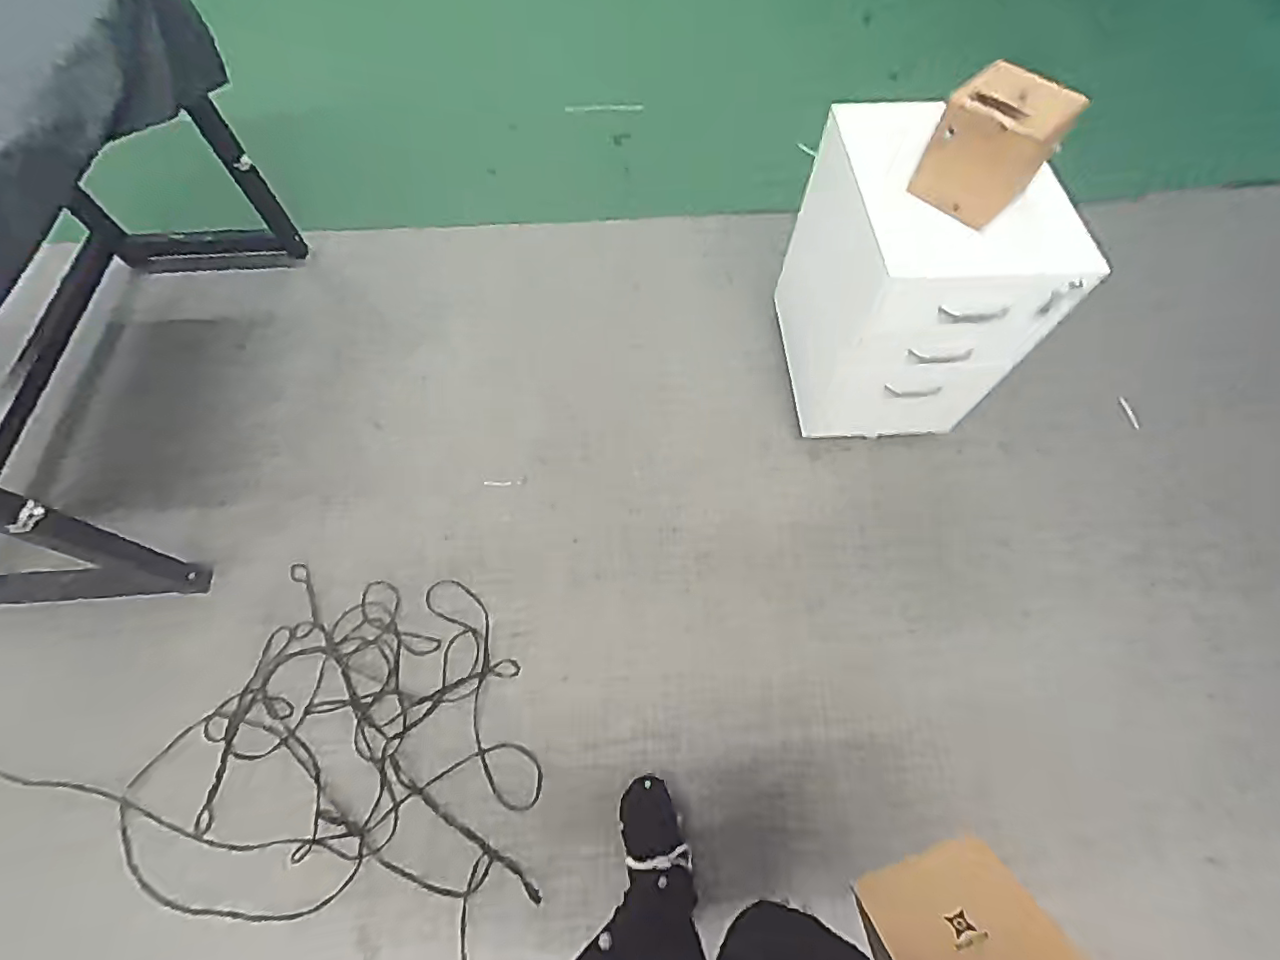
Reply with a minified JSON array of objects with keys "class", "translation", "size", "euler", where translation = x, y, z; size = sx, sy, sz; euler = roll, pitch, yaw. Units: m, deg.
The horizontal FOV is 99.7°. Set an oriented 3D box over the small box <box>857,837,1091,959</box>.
[{"class":"small box","translation":[0.363,0.541,0.574],"size":[0.168,0.179,0.176],"euler":[-19,102,-4]}]
